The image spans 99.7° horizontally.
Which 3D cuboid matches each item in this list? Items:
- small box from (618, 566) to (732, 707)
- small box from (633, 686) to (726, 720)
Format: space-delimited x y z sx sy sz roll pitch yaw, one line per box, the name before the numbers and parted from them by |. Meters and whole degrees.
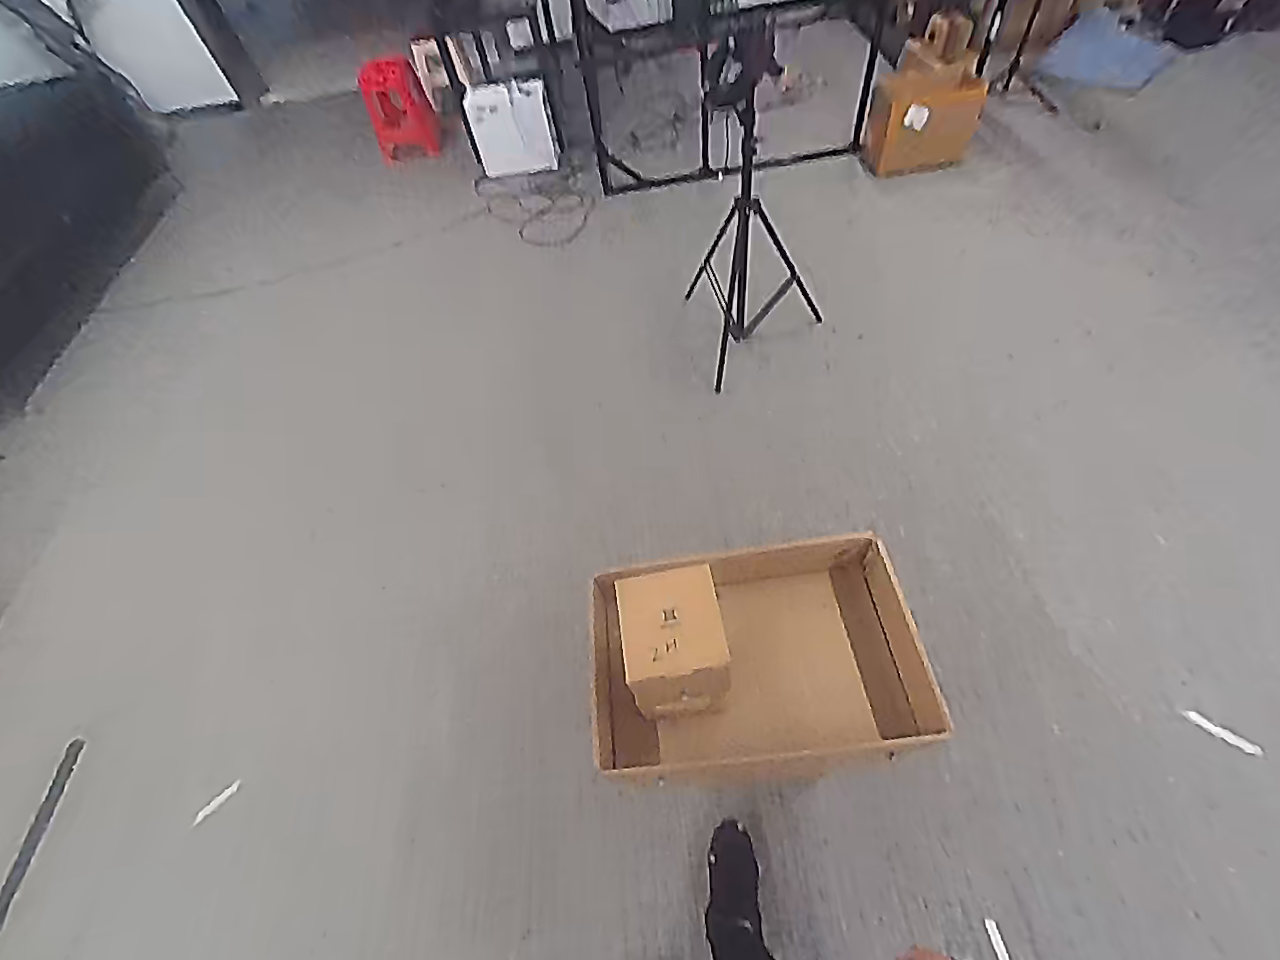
small box | 0.060 0.274 0.937 0.168 0.176 0.179 -11 54 3
small box | 0.076 0.365 1.073 0.168 0.176 0.179 -9 53 3
